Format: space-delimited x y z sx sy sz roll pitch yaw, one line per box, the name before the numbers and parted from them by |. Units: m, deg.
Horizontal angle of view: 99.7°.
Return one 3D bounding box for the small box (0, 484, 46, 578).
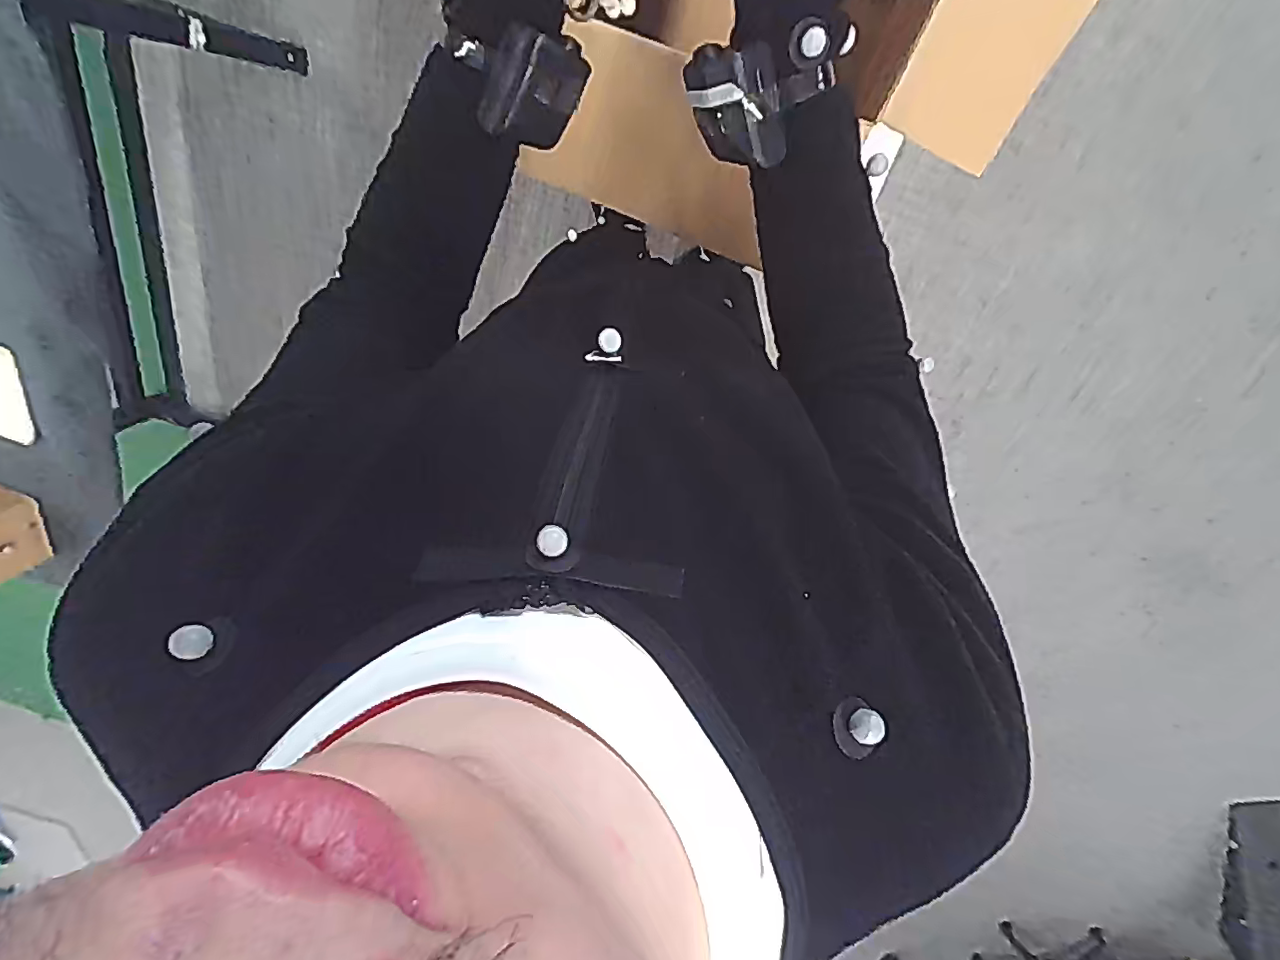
small box | -1.373 0.101 1.094 0.179 0.176 0.168 20 120 -1
